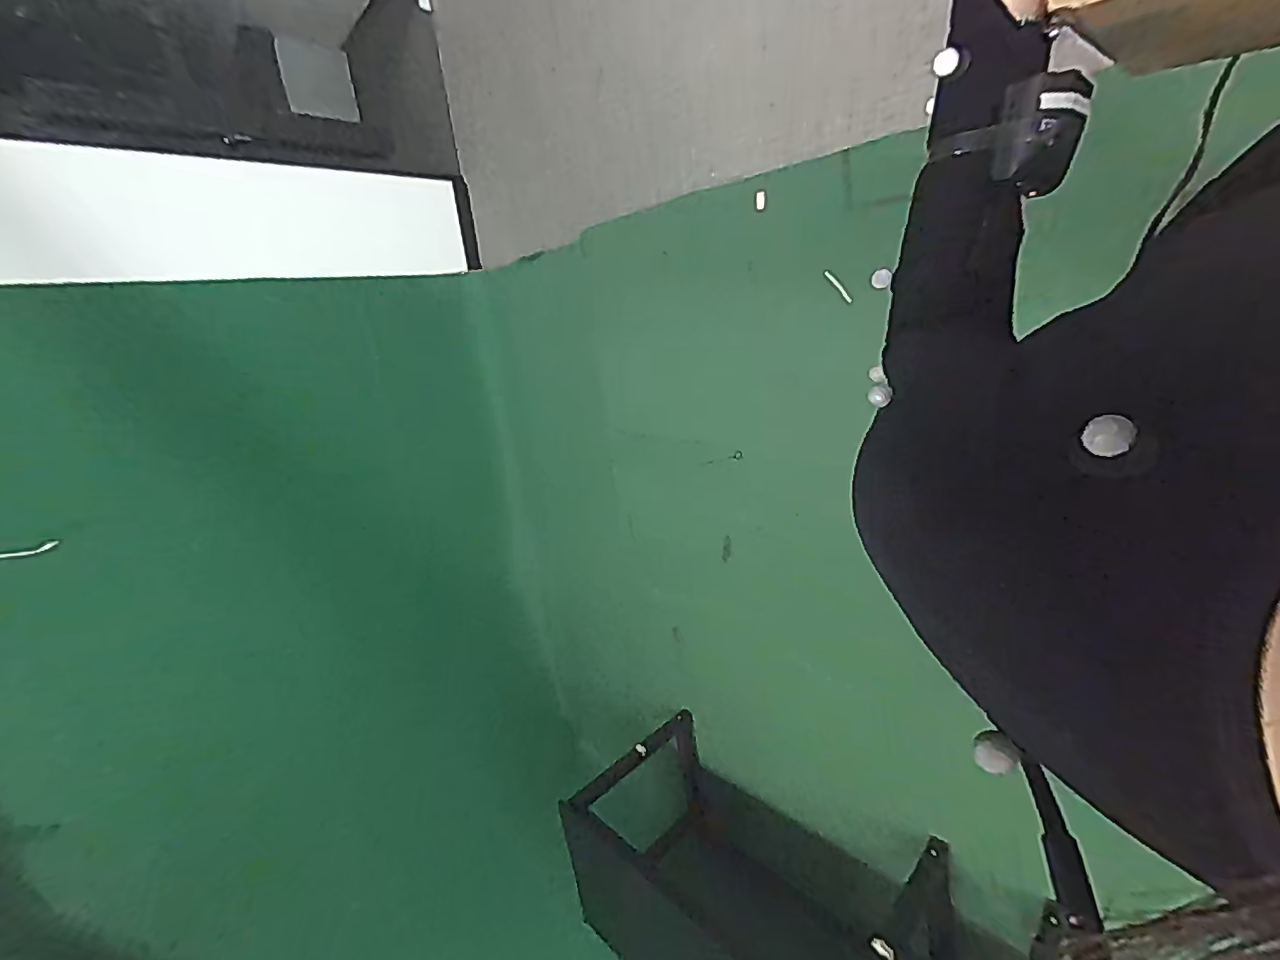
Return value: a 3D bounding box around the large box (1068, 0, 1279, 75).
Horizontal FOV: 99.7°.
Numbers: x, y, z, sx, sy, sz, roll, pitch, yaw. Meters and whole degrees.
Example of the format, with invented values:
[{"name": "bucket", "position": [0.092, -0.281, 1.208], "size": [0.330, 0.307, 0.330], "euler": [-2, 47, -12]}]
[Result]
[{"name": "large box", "position": [0.497, -0.450, 0.249], "size": [0.408, 0.320, 0.320], "euler": [16, 121, 43]}]
